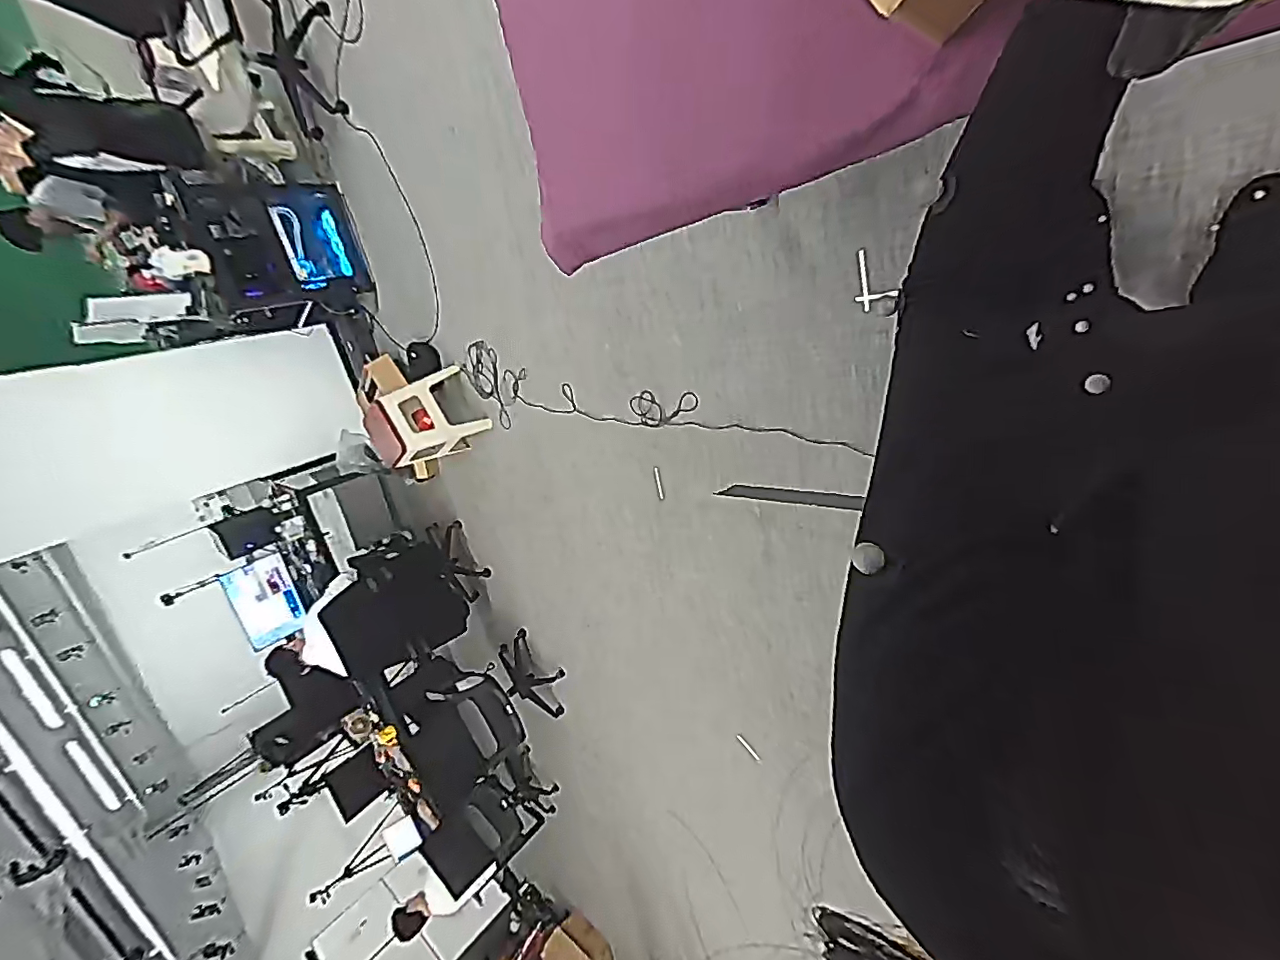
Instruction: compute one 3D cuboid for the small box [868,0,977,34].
[{"bbox_3d":[0.260,-0.536,0.459,0.168,0.176,0.179,57,140,6],"label":"small box"}]
